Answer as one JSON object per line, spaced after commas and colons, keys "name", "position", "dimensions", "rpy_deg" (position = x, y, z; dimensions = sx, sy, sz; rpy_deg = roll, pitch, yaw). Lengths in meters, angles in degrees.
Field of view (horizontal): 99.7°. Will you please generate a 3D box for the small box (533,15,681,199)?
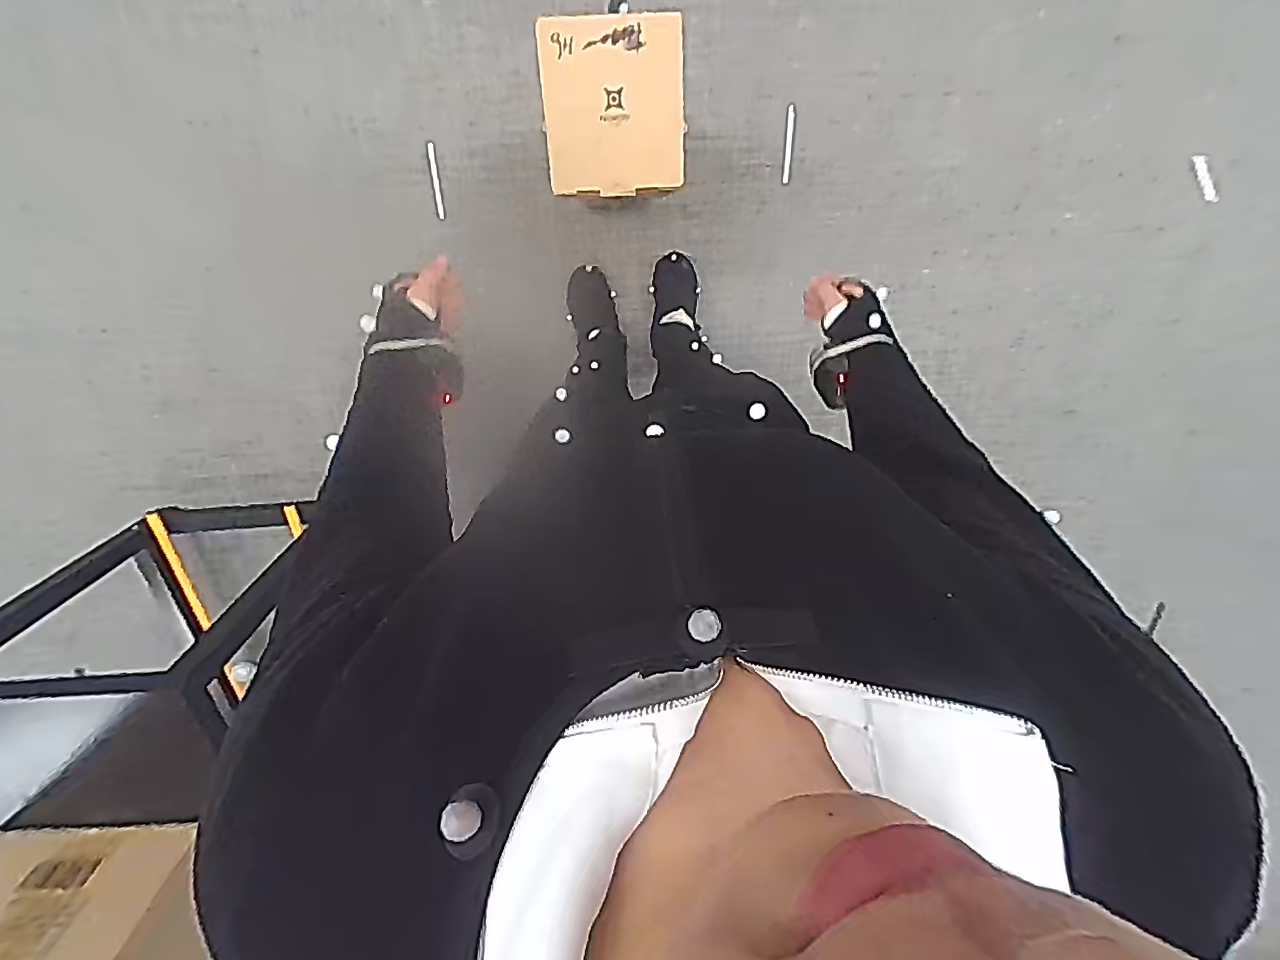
{"name": "small box", "position": [-0.036, -0.466, 0.700], "dimensions": [0.168, 0.176, 0.179], "rpy_deg": [-3, 117, -1]}
